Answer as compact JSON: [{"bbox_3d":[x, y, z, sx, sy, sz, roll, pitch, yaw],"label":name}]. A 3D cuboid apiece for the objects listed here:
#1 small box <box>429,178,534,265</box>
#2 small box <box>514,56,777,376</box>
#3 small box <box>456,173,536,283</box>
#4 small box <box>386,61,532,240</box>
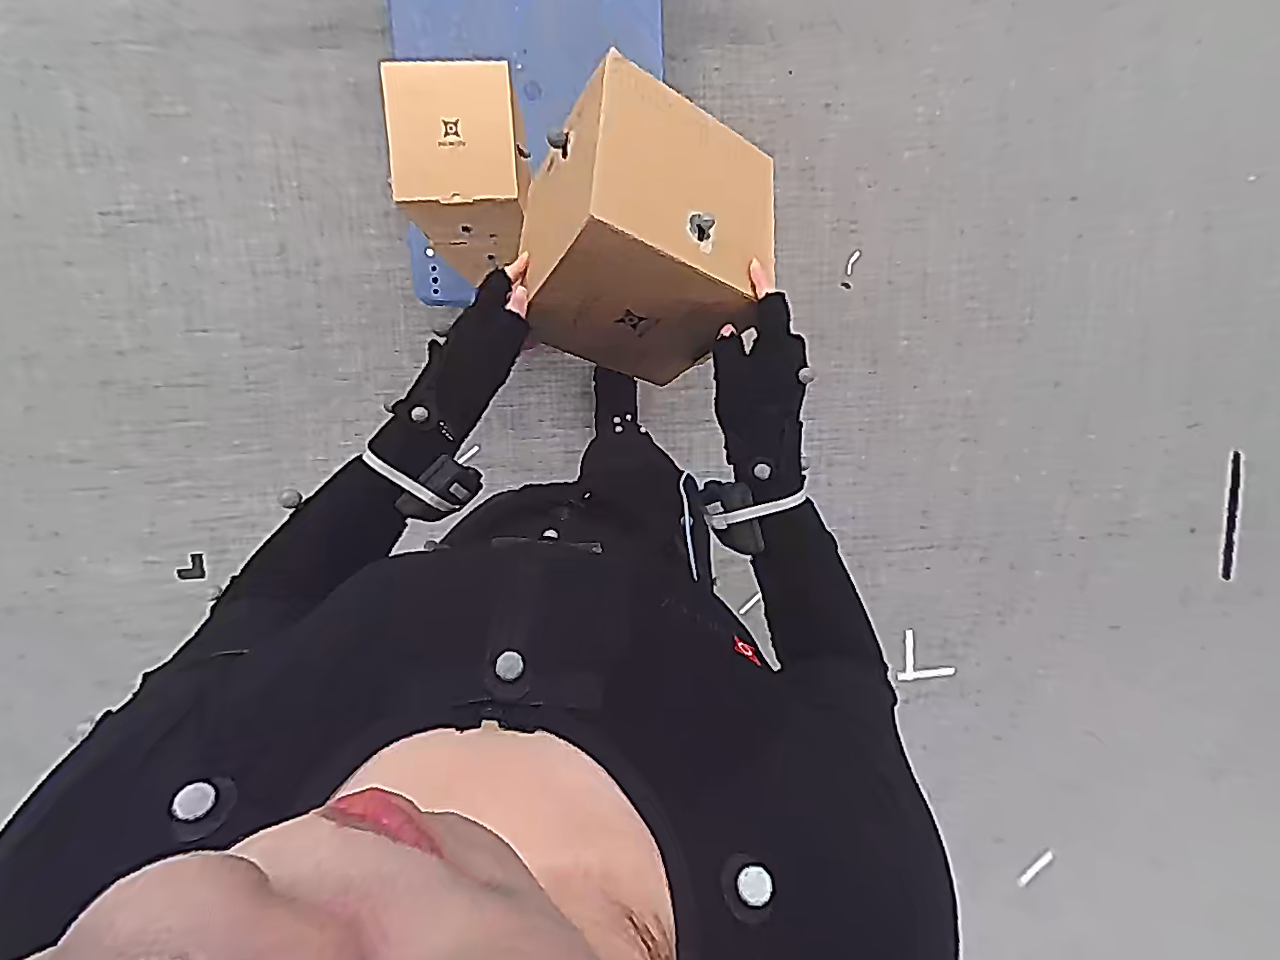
[{"bbox_3d":[-0.274,-0.489,0.956,0.168,0.176,0.179,-6,99,-4],"label":"small box"},{"bbox_3d":[0.005,-0.224,0.494,0.179,0.168,0.176,14,68,-30],"label":"small box"},{"bbox_3d":[-0.285,-0.512,1.119,0.168,0.176,0.179,-4,97,-4],"label":"small box"},{"bbox_3d":[-0.252,-0.471,0.795,0.168,0.176,0.179,-3,98,-4],"label":"small box"}]
